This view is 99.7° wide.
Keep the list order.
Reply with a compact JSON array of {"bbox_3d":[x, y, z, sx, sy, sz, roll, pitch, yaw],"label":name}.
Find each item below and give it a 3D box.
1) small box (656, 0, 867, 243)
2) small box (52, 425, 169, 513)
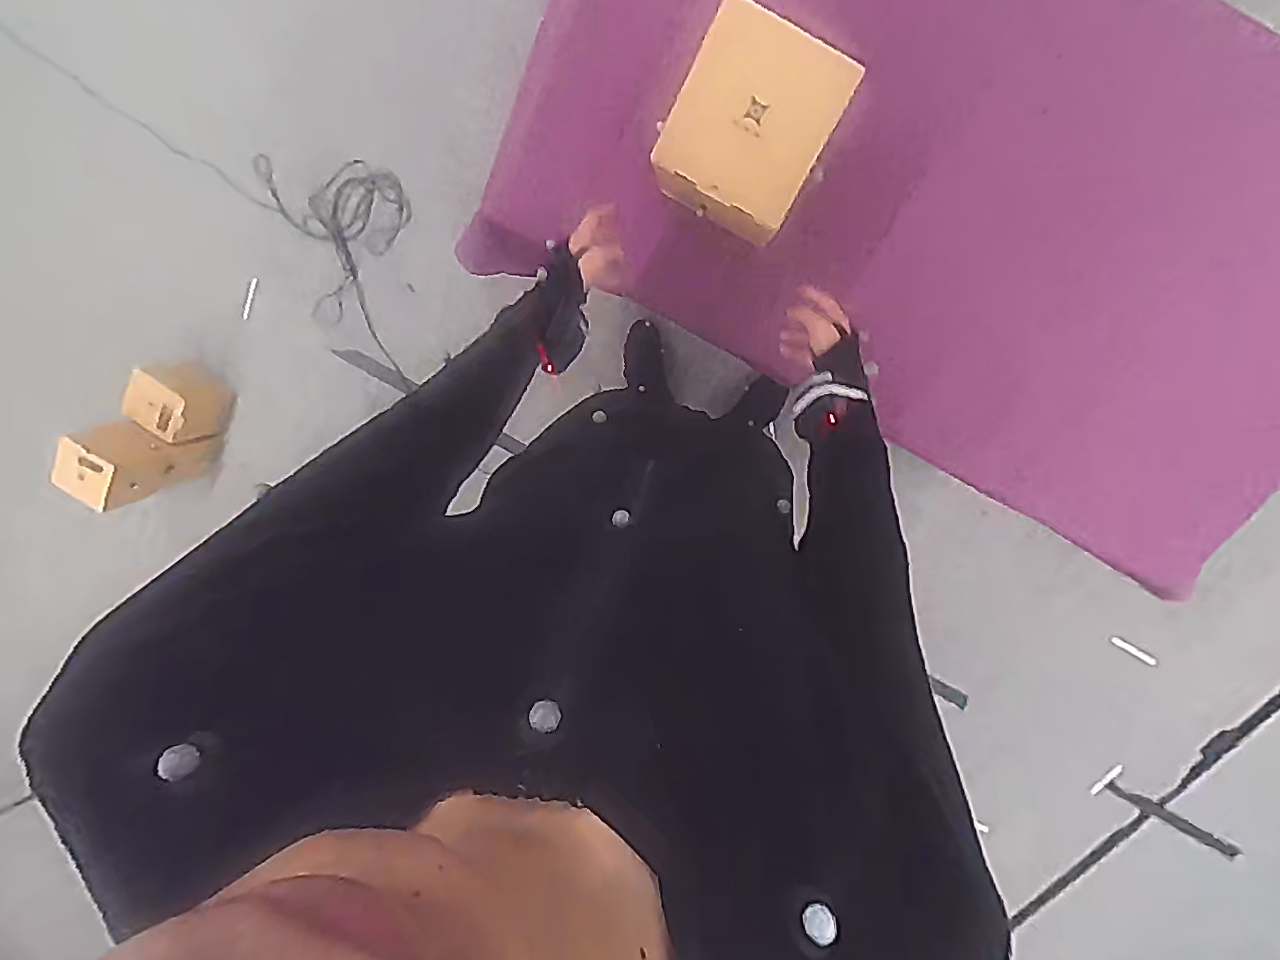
[{"bbox_3d":[0.134,-0.414,0.656,0.168,0.176,0.179,29,110,-3],"label":"small box"},{"bbox_3d":[-1.540,-0.040,1.583,0.168,0.176,0.179,34,110,-4],"label":"small box"}]
